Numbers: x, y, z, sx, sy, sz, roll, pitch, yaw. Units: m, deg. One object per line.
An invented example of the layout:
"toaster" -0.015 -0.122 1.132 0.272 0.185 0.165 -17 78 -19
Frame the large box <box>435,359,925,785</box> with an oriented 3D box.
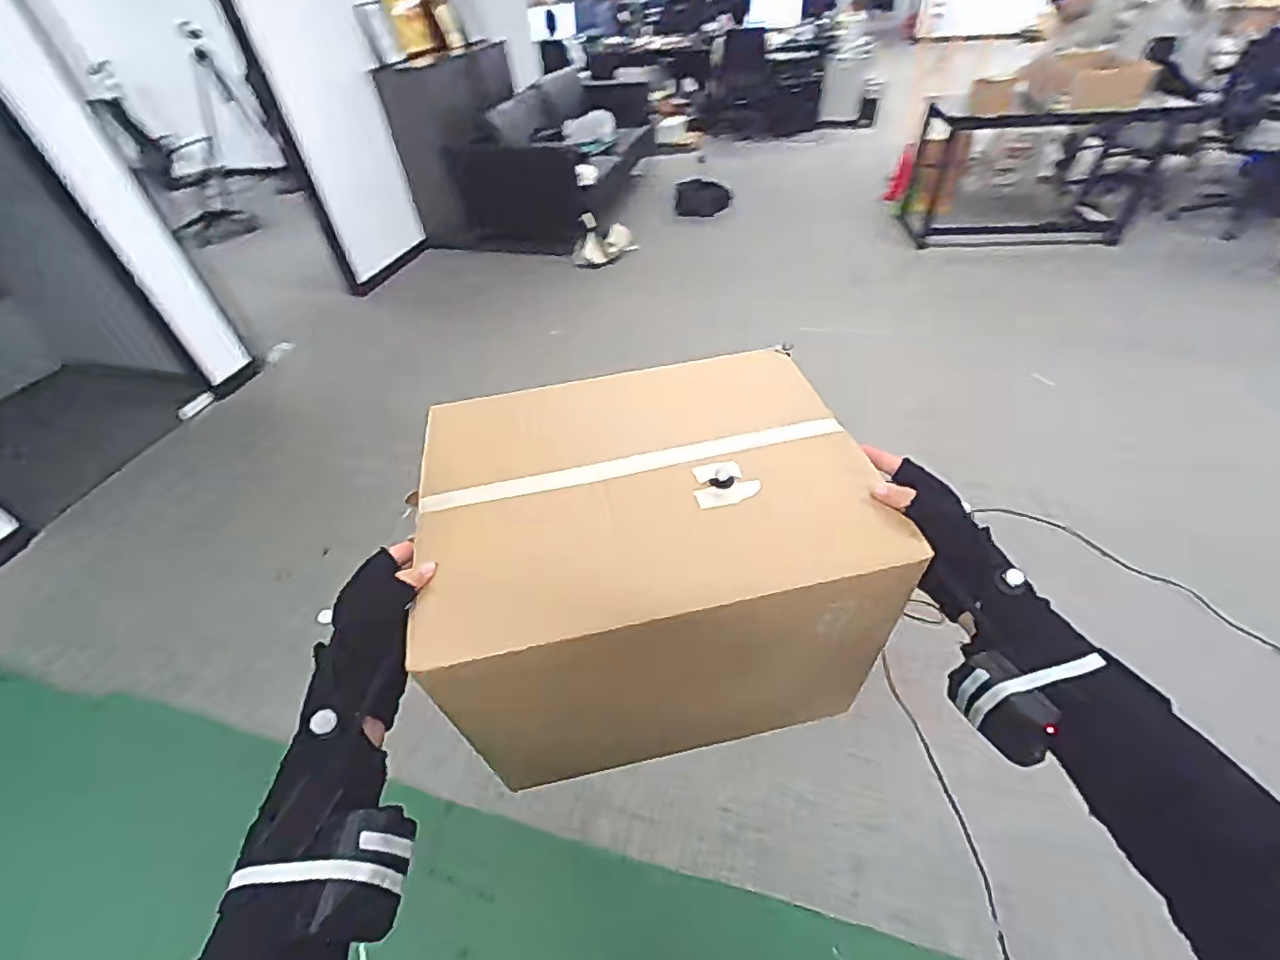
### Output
"large box" 0.018 0.100 0.624 0.408 0.320 0.320 -10 46 -6
